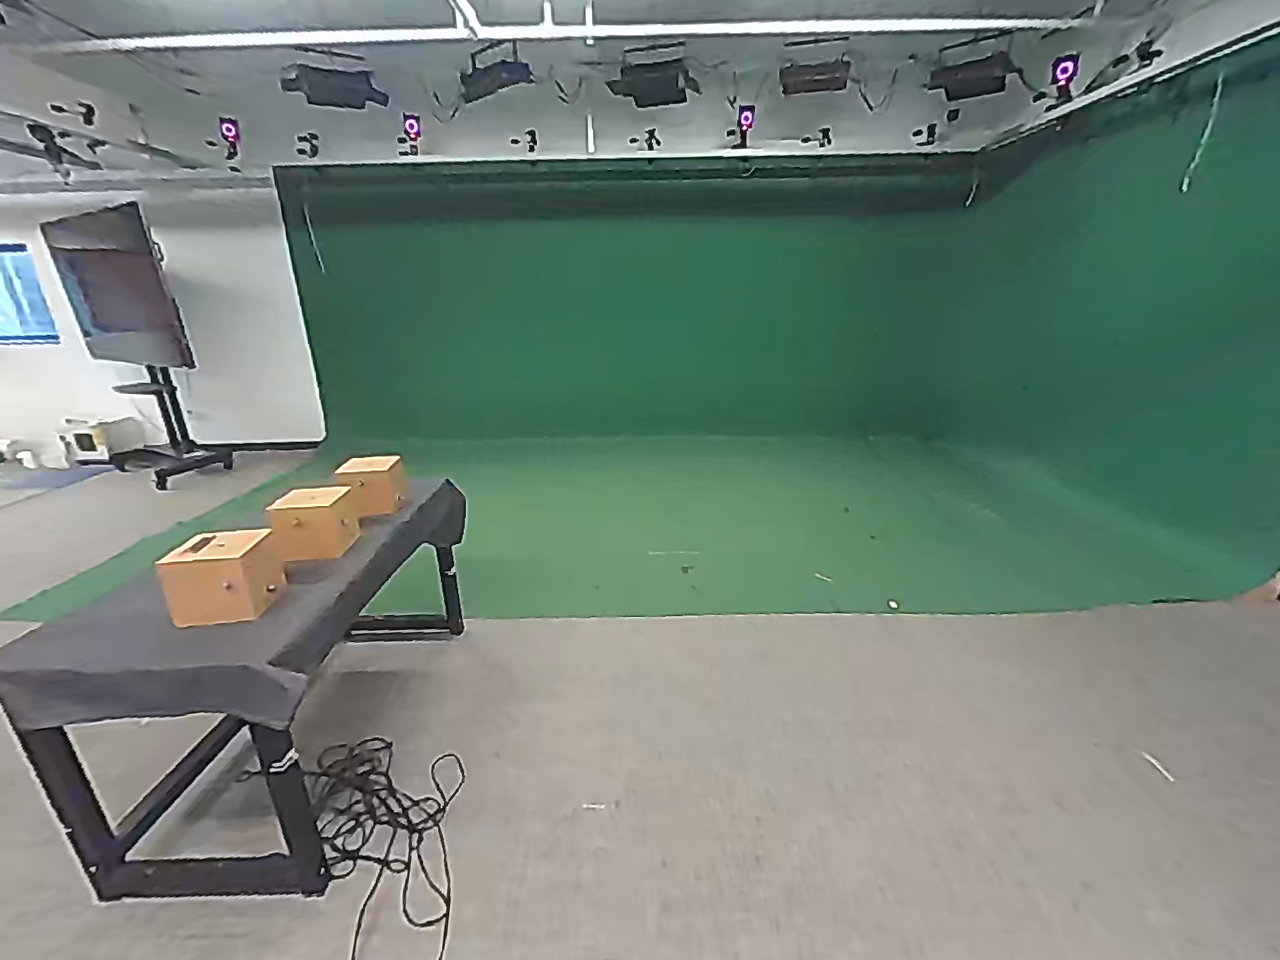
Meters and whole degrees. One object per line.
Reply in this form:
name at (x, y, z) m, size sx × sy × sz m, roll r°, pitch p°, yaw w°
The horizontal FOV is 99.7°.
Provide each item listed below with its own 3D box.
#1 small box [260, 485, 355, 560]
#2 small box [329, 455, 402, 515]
small box at (-0.977, 0.126, 1.608) m, size 0.179 × 0.176 × 0.168 m, roll -4°, pitch 20°, yaw -5°
small box at (-0.964, 0.018, 1.915) m, size 0.179 × 0.176 × 0.168 m, roll -3°, pitch 21°, yaw -7°
